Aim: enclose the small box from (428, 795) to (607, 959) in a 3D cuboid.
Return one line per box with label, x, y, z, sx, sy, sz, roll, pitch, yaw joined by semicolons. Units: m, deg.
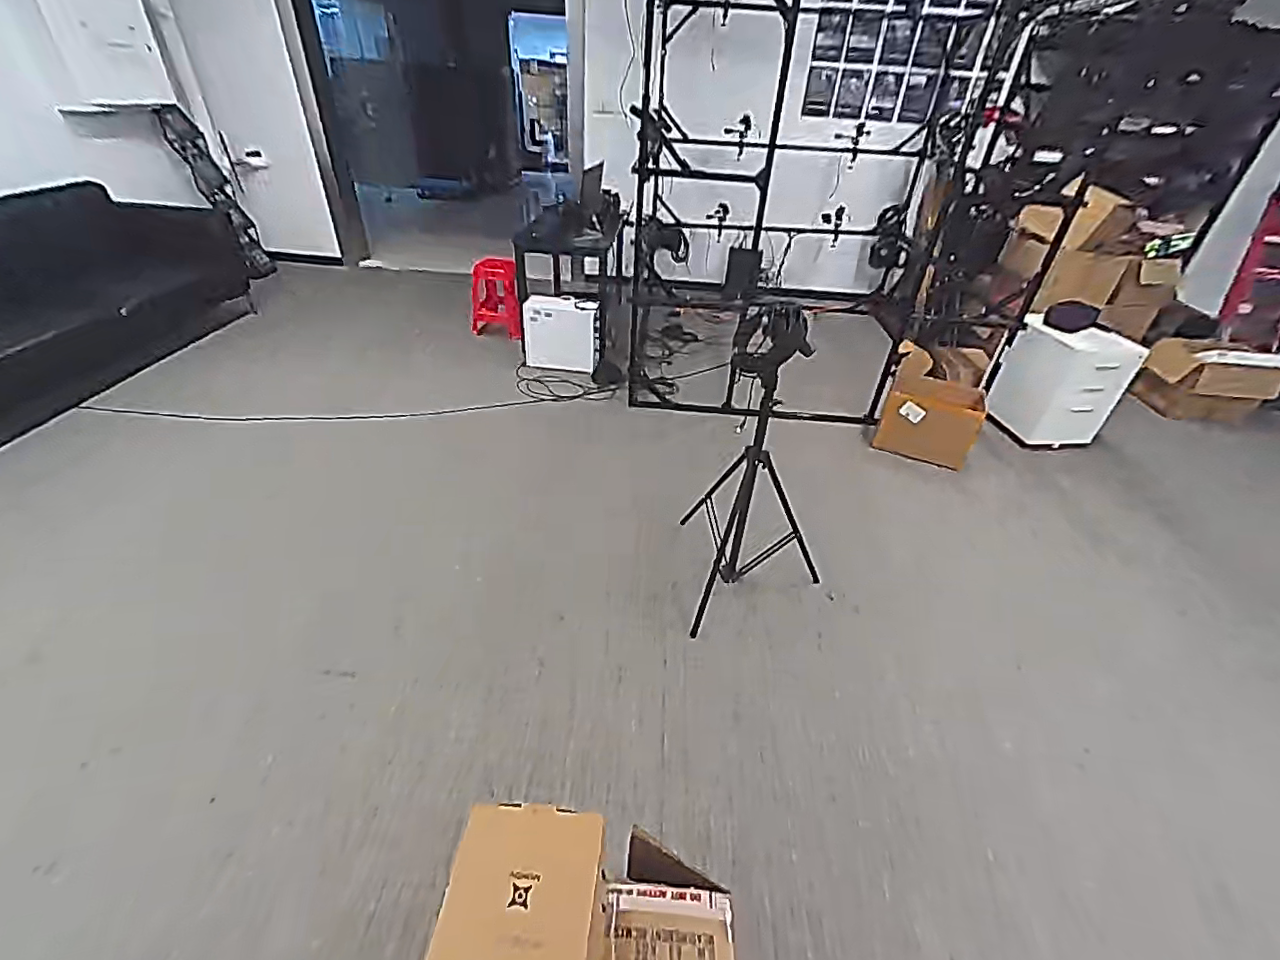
small box;-0.132;0.515;0.653;0.168;0.176;0.179;3;38;3
